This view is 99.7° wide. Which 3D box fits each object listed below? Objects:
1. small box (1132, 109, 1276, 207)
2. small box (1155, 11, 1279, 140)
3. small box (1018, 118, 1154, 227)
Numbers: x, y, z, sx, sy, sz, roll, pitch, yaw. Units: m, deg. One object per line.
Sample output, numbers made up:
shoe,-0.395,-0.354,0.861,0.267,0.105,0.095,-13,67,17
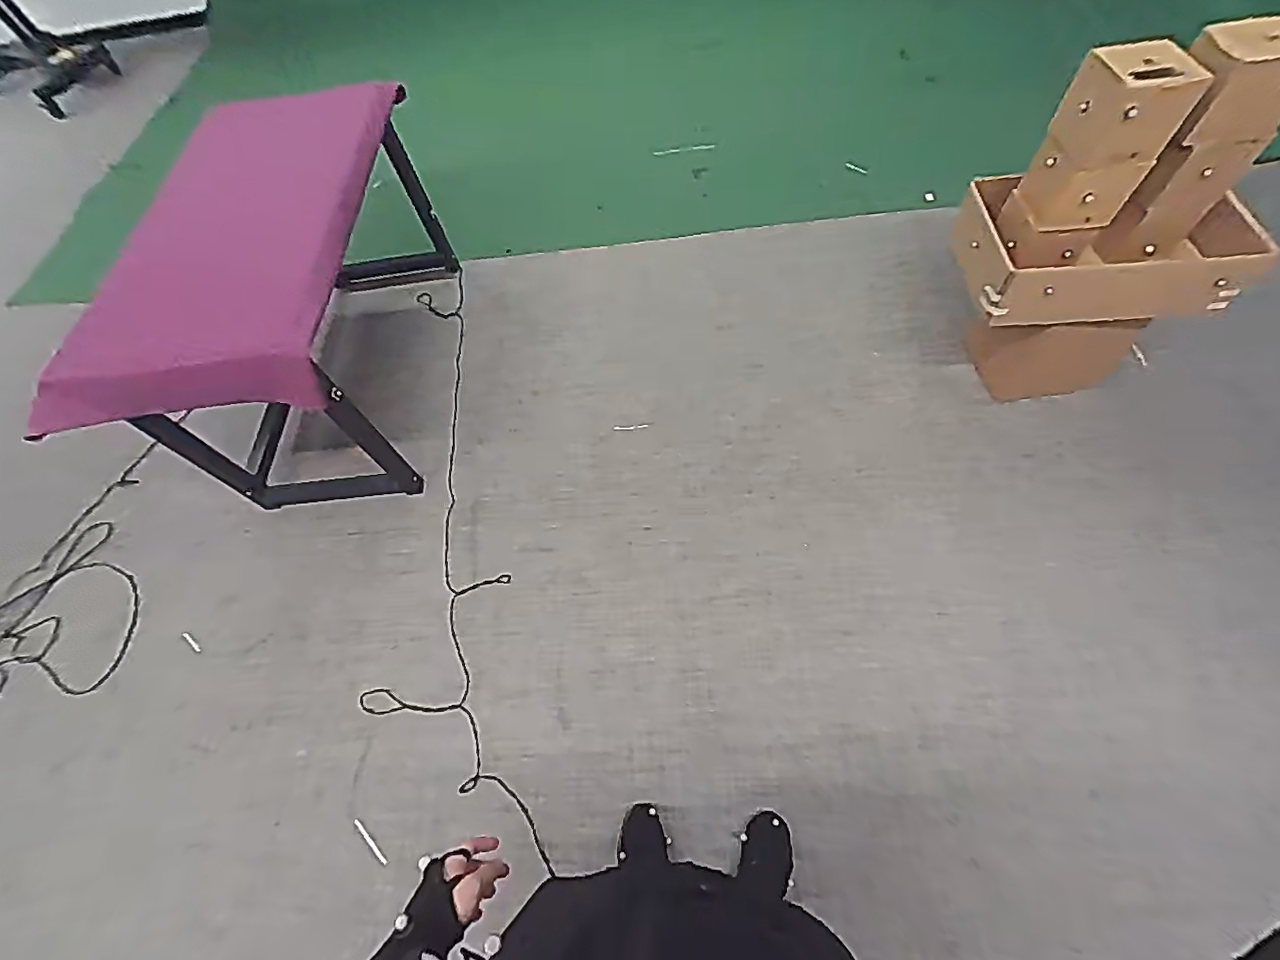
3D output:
small box,1.339,-0.797,1.318,0.179,0.176,0.168,-9,61,5
small box,1.300,-0.875,1.176,0.179,0.176,0.168,-2,60,8
small box,1.079,-0.744,1.325,0.168,0.176,0.179,-4,60,4
